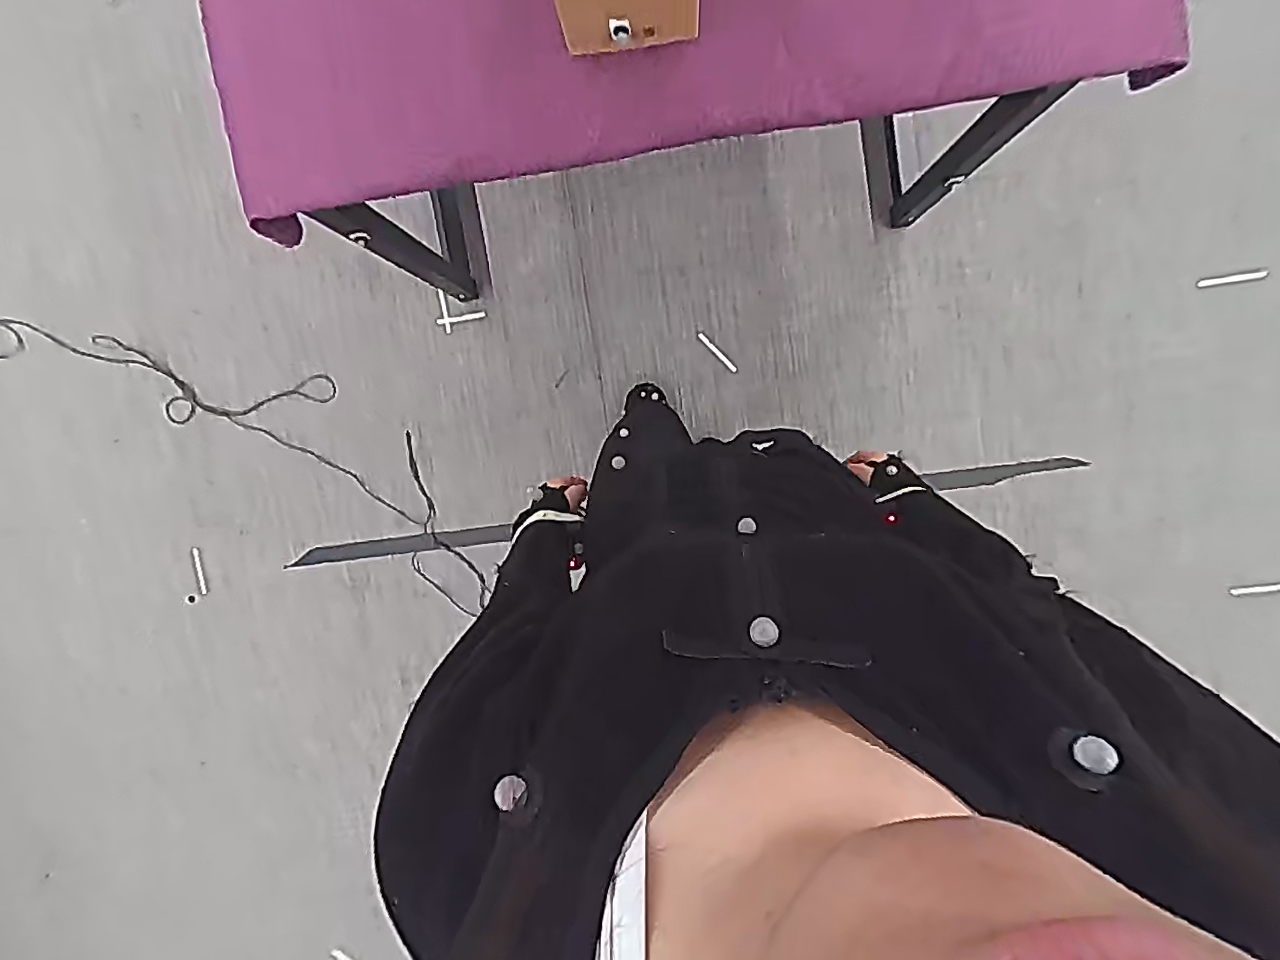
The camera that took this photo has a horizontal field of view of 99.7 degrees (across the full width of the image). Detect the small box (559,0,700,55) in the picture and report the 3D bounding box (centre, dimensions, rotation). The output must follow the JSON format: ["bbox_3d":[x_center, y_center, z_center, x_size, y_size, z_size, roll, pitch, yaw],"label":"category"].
[{"bbox_3d":[-0.021,-0.630,0.603,0.168,0.176,0.179,-6,96,5],"label":"small box"}]
